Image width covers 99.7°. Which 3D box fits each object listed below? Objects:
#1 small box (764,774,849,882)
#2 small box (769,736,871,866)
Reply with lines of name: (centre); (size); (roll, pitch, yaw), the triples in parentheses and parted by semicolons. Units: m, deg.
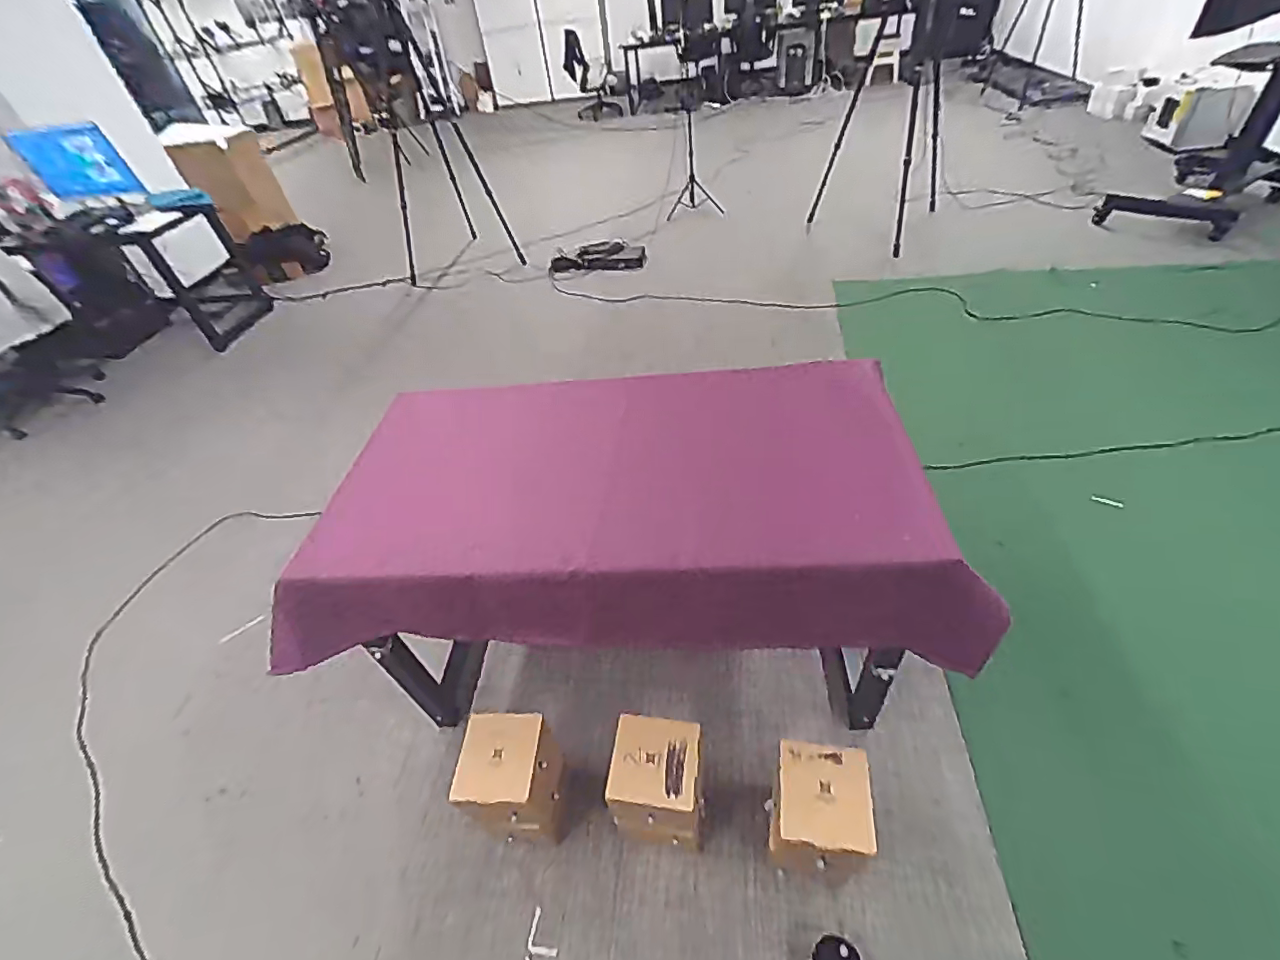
small box: (0.366, 0.753, 1.191); (0.168, 0.176, 0.179); (6, 45, 15)
small box: (0.349, 0.639, 1.071); (0.168, 0.176, 0.179); (5, 47, 11)
